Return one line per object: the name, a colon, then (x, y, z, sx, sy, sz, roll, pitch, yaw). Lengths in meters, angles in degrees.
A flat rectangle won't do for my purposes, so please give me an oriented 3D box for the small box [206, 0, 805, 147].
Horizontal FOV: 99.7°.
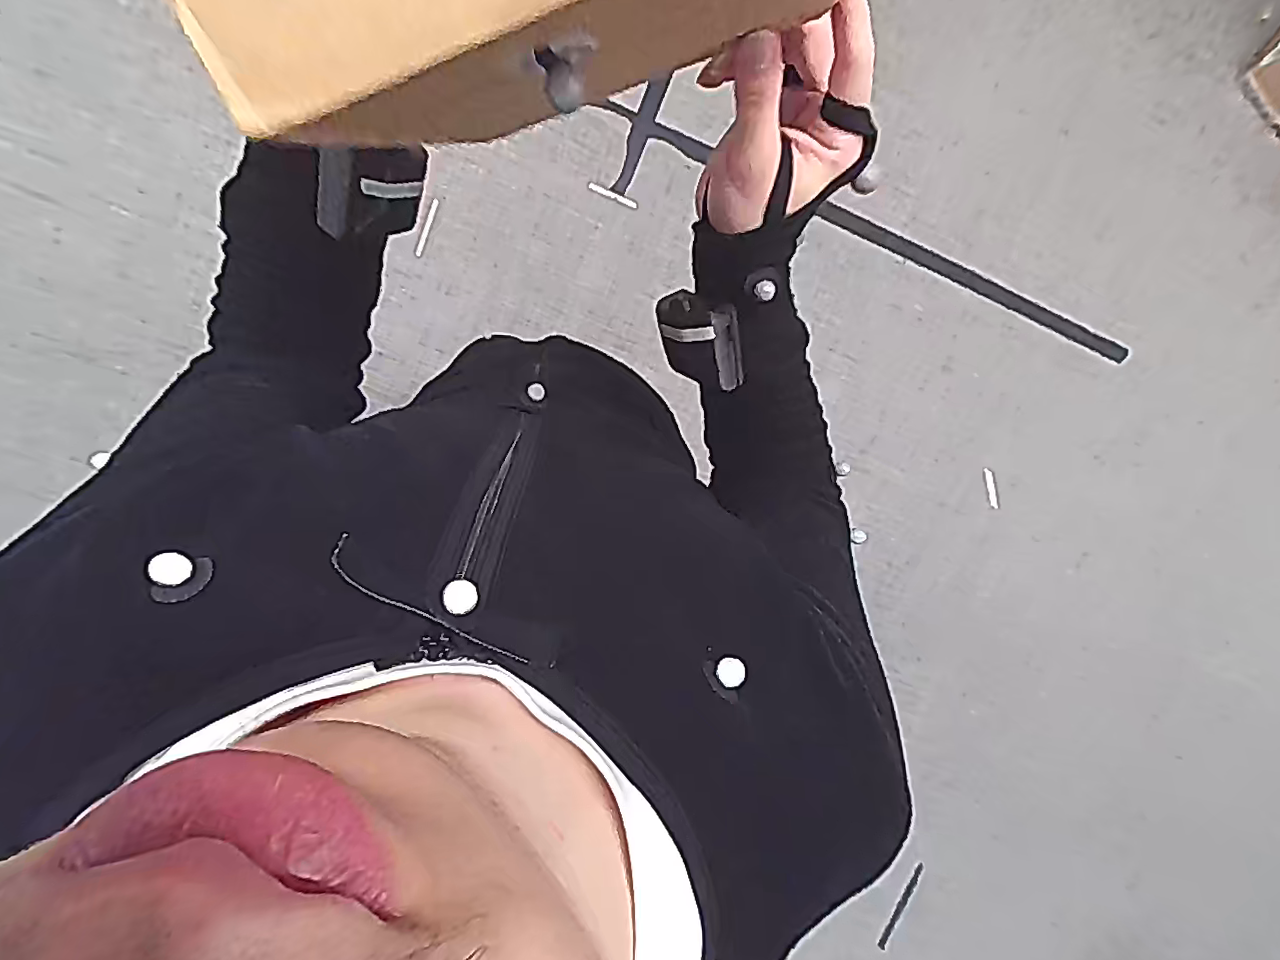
small box: (-0.036, -0.222, 0.168, 0.179, 0.176, 0.168, -10, 120, 18)
